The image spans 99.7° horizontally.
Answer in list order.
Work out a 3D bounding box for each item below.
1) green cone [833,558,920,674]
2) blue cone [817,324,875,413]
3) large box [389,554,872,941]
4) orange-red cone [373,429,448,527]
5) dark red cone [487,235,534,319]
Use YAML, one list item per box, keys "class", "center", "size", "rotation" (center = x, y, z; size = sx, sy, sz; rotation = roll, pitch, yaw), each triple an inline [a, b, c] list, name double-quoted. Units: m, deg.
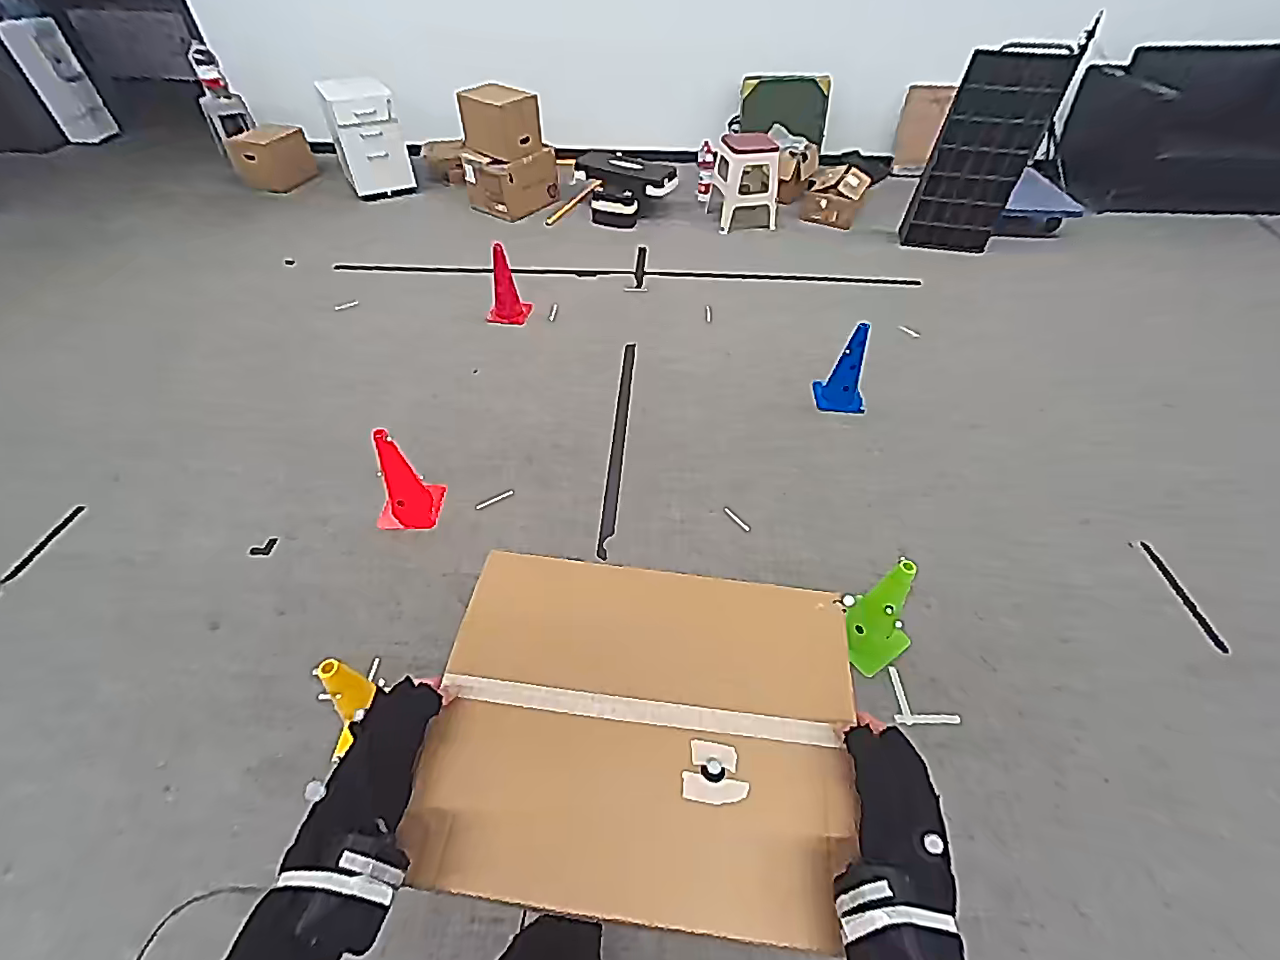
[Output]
- class: "green cone"
  center: [0.668, 0.334, 1.466]
  size: [0.202, 0.368, 0.200]
  rotation: [-26, 53, -24]
- class: "blue cone"
  center: [0.880, -0.469, 2.235]
  size: [0.192, 0.380, 0.193]
  rotation: [6, 48, 3]
- class: "large box"
  center: [-0.002, 0.319, 0.643]
  size: [0.408, 0.320, 0.320]
  rotation: [7, 50, 3]
- class: "orange-red cone"
  center: [-0.793, -0.026, 1.781]
  size: [0.198, 0.360, 0.199]
  rotation: [0, 49, 1]
- class: "dark red cone"
  center: [-0.654, -0.991, 2.641]
  size: [0.201, 0.394, 0.202]
  rotation: [8, 48, 5]
